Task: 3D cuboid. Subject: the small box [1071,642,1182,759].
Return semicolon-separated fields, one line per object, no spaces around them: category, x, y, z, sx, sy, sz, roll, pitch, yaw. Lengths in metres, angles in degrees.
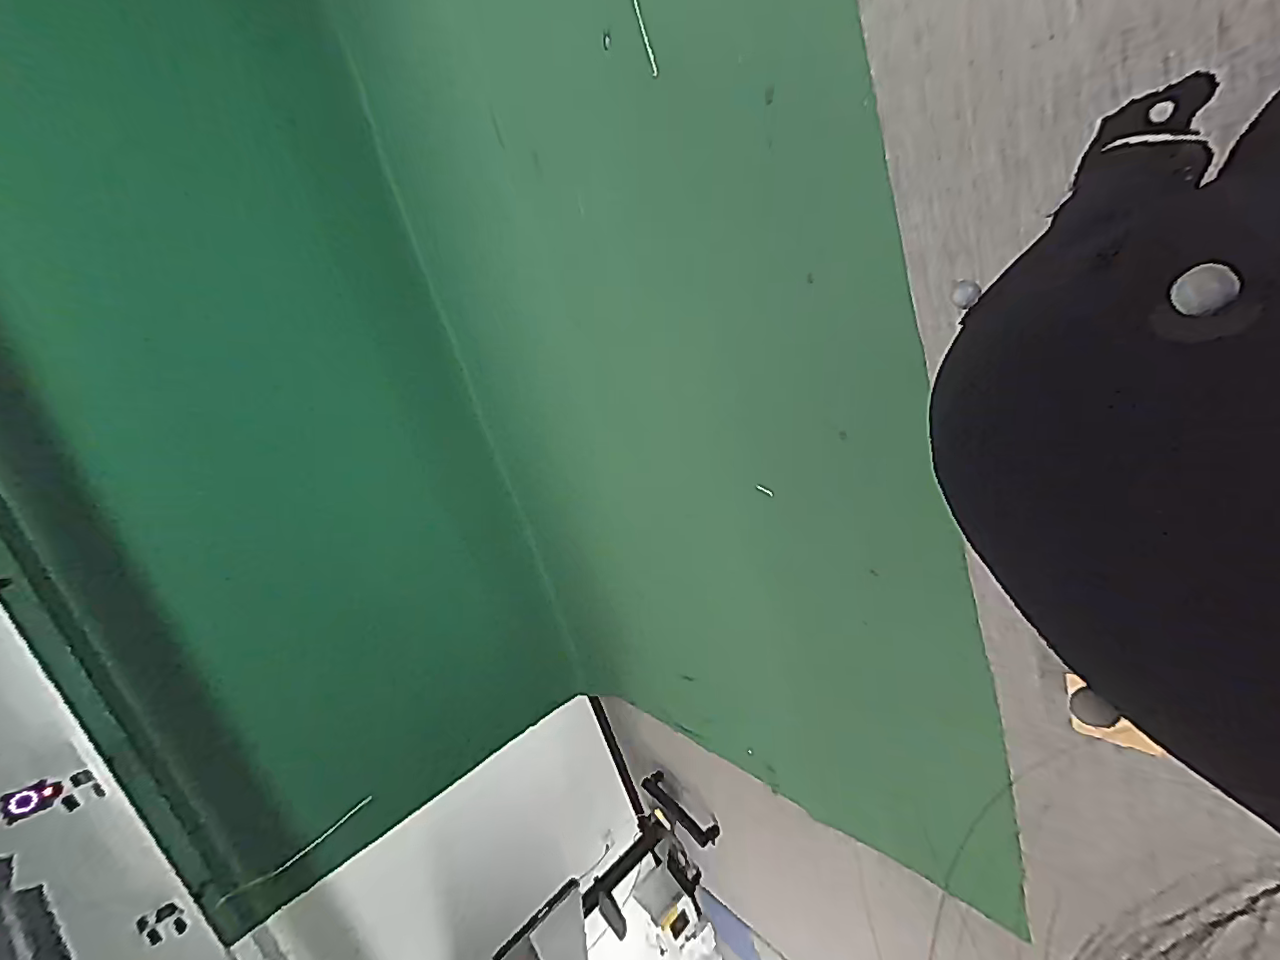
small box;1.178;0.522;1.308;0.168;0.176;0.179;1;112;55
